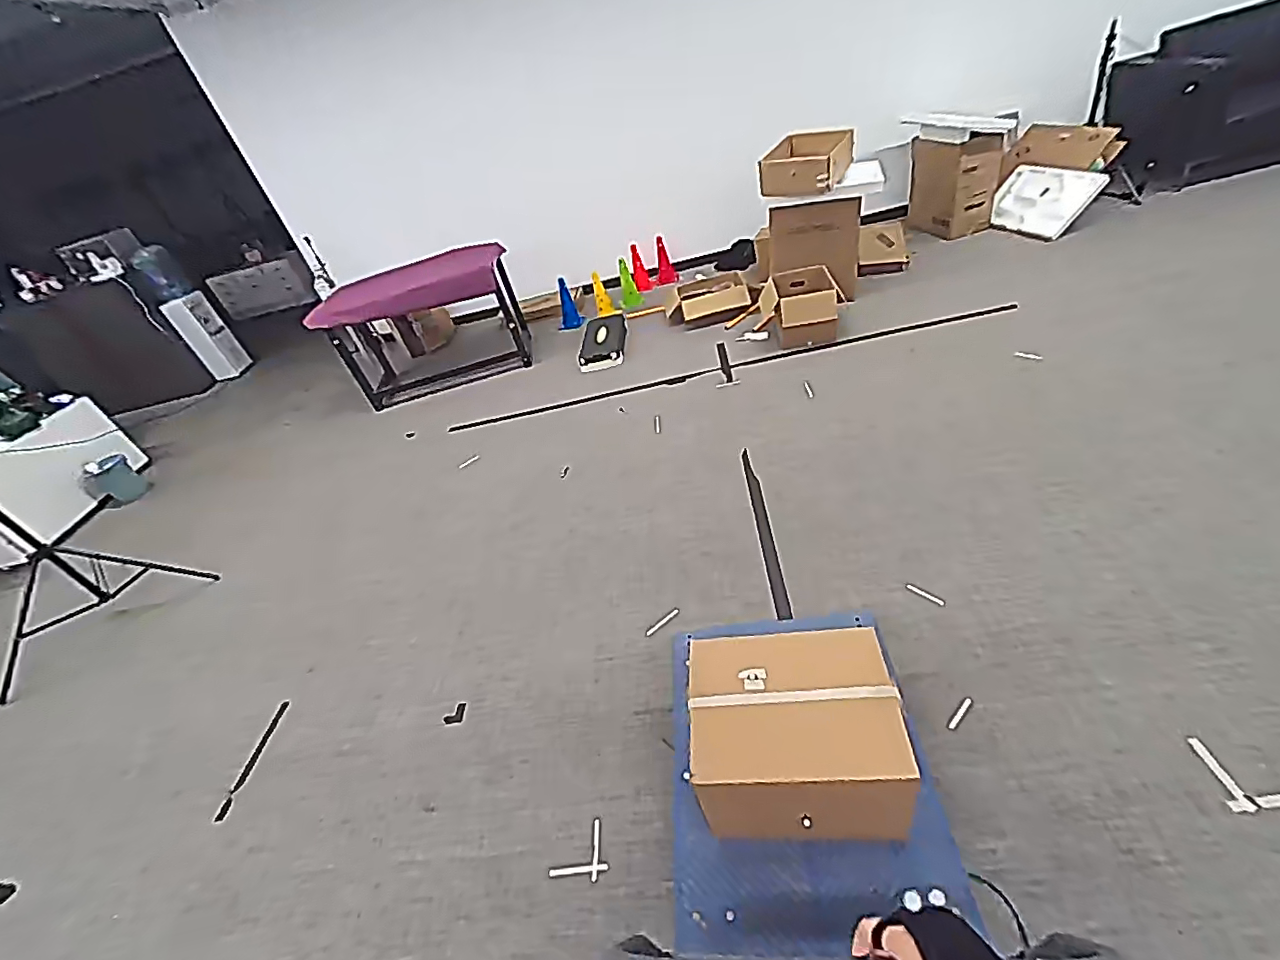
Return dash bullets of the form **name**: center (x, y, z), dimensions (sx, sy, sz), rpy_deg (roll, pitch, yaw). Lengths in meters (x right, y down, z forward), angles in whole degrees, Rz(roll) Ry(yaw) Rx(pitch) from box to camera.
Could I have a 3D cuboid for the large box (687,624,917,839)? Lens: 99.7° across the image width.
- **large box**: center (0.330, 0.548, 1.167), dimensions (0.408, 0.320, 0.320), rpy_deg (-9, 37, 12)
